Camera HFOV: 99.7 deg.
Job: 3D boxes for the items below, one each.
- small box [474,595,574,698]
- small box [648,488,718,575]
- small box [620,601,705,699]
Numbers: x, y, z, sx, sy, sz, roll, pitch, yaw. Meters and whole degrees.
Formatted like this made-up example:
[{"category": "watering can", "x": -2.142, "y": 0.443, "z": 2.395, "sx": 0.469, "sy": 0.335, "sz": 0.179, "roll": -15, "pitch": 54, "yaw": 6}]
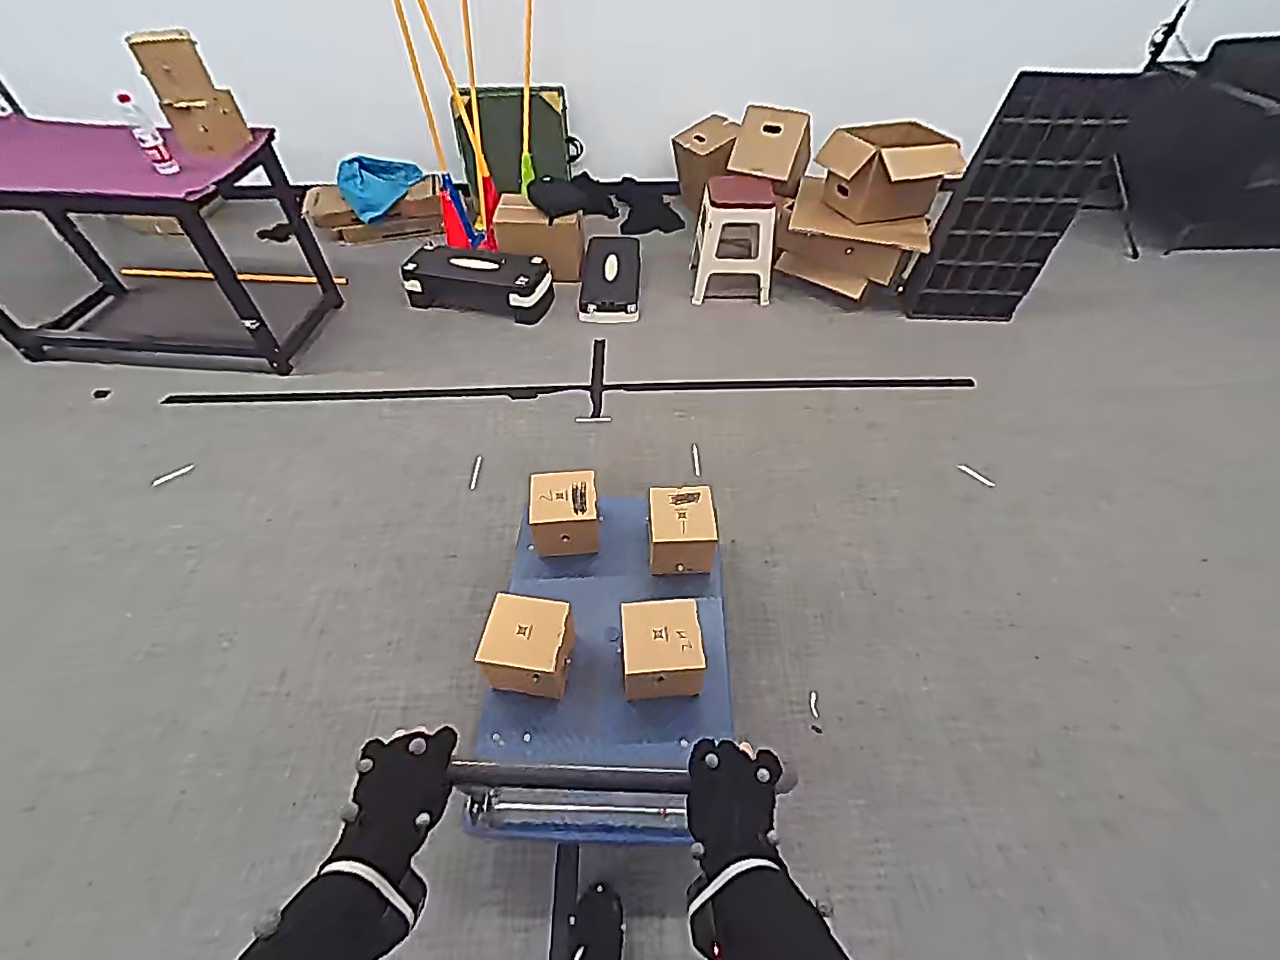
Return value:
[{"category": "small box", "x": -0.258, "y": 0.387, "z": 1.250, "sx": 0.179, "sy": 0.176, "sz": 0.168, "roll": 7, "pitch": 50, "yaw": 4}, {"category": "small box", "x": 0.109, "y": 0.140, "z": 1.456, "sx": 0.168, "sy": 0.176, "sz": 0.179, "roll": -2, "pitch": 51, "yaw": -1}, {"category": "small box", "x": 0.047, "y": 0.395, "z": 1.245, "sx": 0.179, "sy": 0.176, "sz": 0.168, "roll": -3, "pitch": 51, "yaw": -3}]
